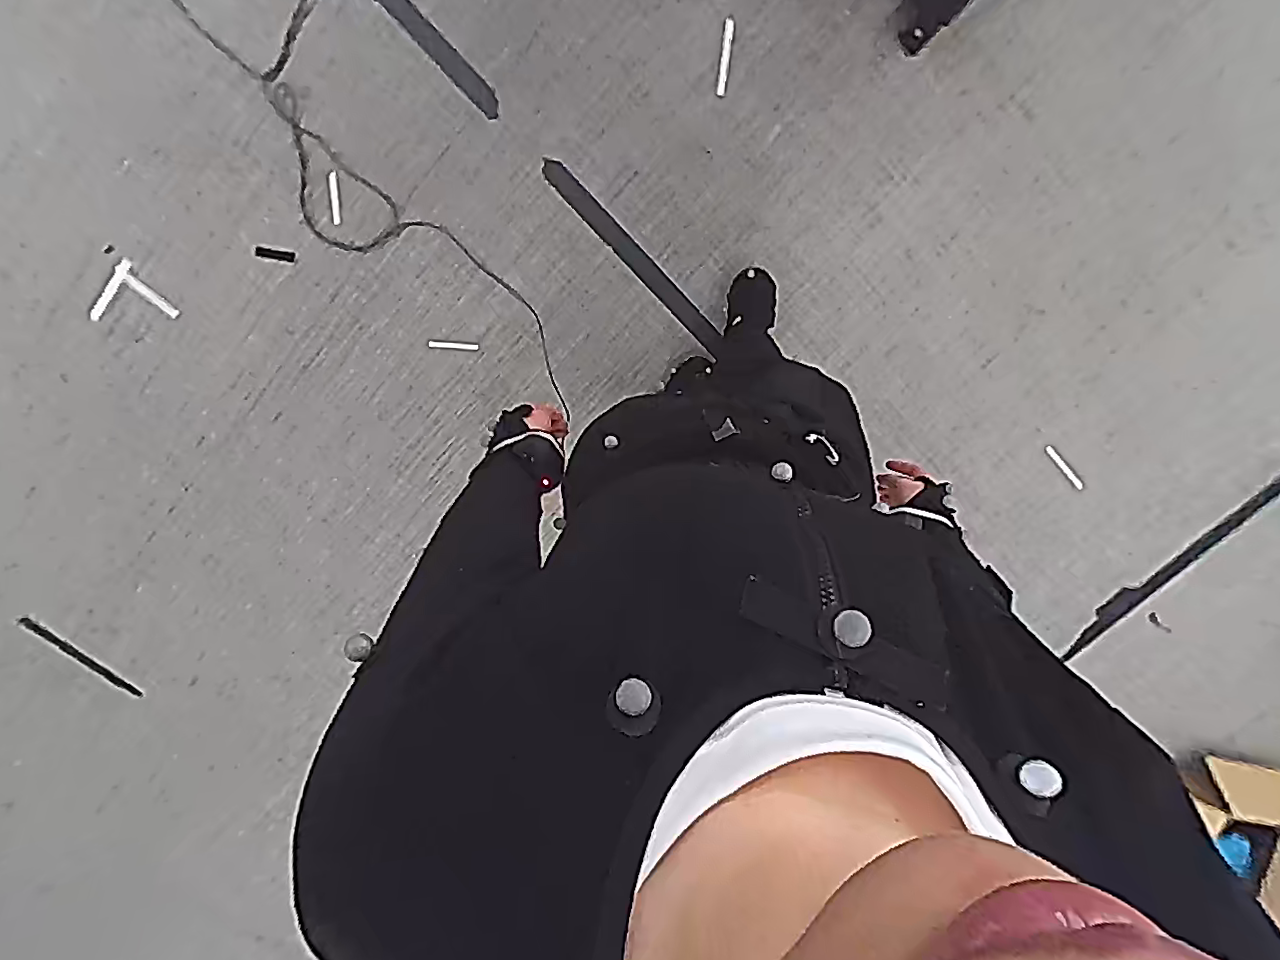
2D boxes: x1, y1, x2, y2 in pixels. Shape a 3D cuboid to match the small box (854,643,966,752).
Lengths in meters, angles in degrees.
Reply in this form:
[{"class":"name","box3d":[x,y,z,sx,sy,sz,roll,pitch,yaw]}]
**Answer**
[{"class":"small box","box3d":[0.717,0.577,1.455,0.179,0.176,0.168,44,102,-10]}]
